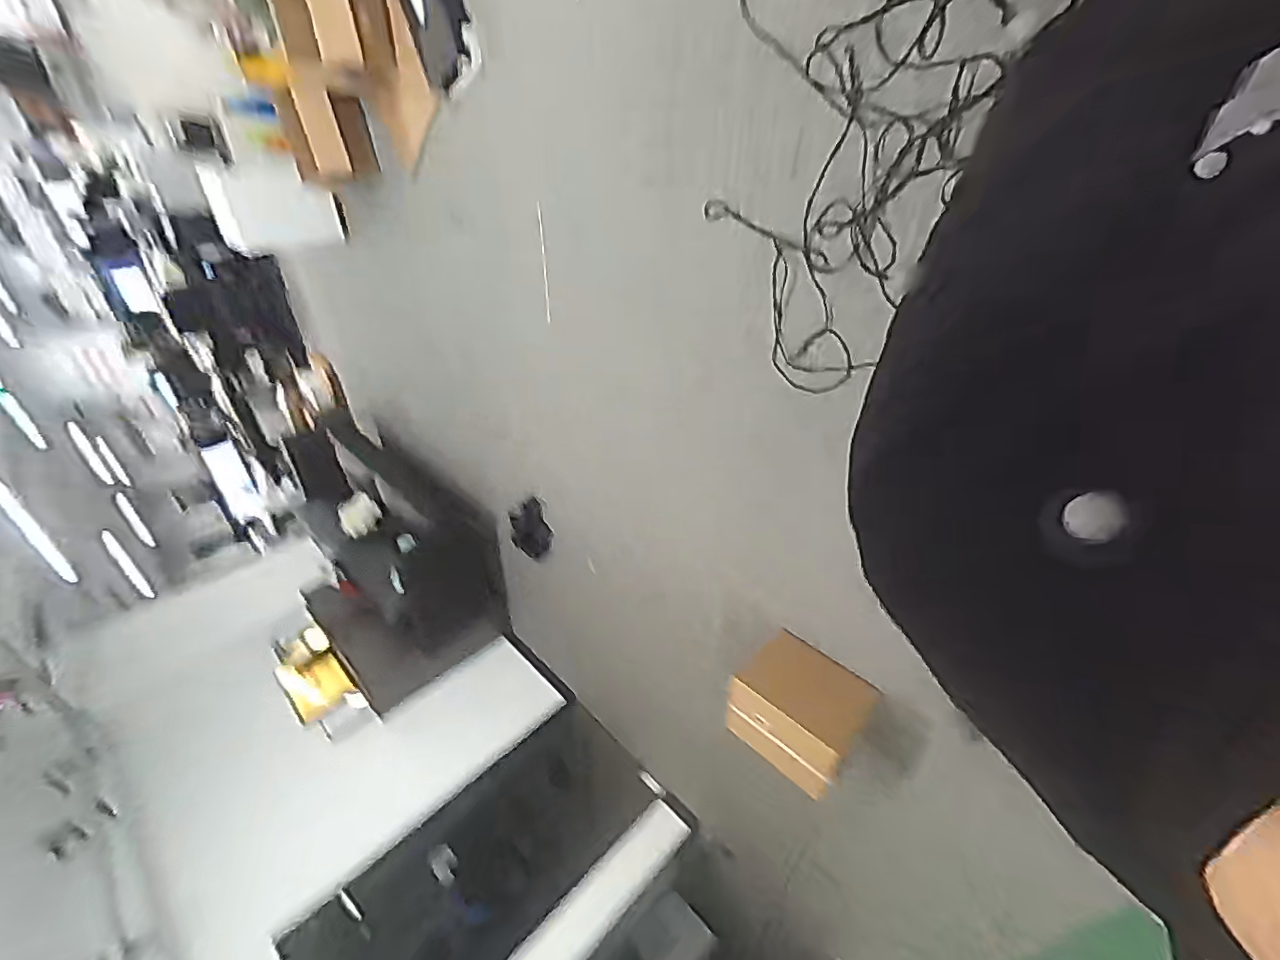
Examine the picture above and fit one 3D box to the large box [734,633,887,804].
[{"bbox_3d":[0.598,0.833,1.934,0.408,0.320,0.320,30,134,38],"label":"large box"}]
